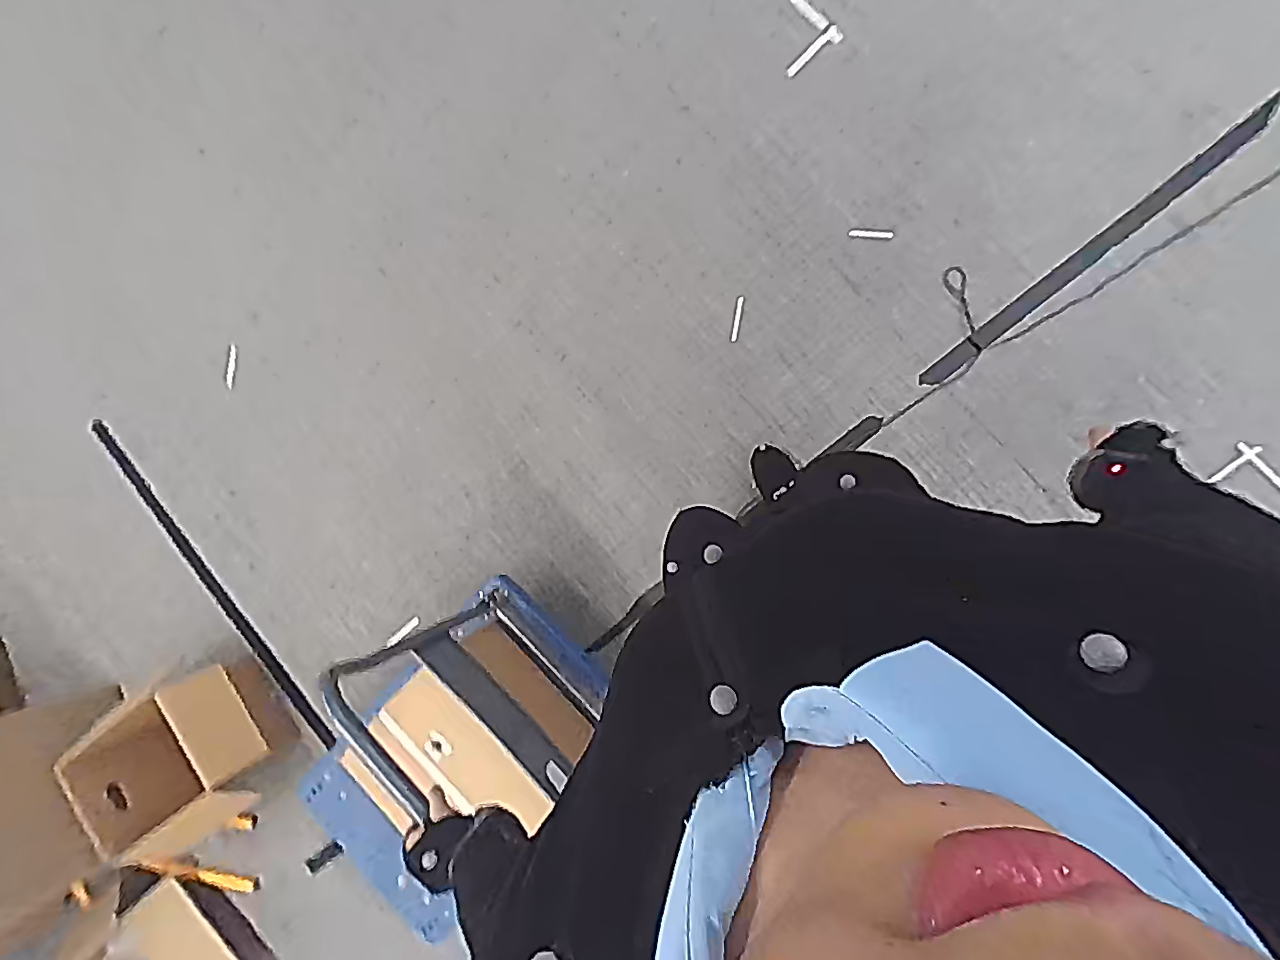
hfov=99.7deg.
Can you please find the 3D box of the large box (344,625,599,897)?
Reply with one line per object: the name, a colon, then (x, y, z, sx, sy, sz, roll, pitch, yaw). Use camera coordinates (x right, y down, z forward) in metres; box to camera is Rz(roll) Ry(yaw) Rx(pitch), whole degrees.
large box: (-0.367, 0.618, 1.263, 0.408, 0.320, 0.320, 44, 97, 7)
